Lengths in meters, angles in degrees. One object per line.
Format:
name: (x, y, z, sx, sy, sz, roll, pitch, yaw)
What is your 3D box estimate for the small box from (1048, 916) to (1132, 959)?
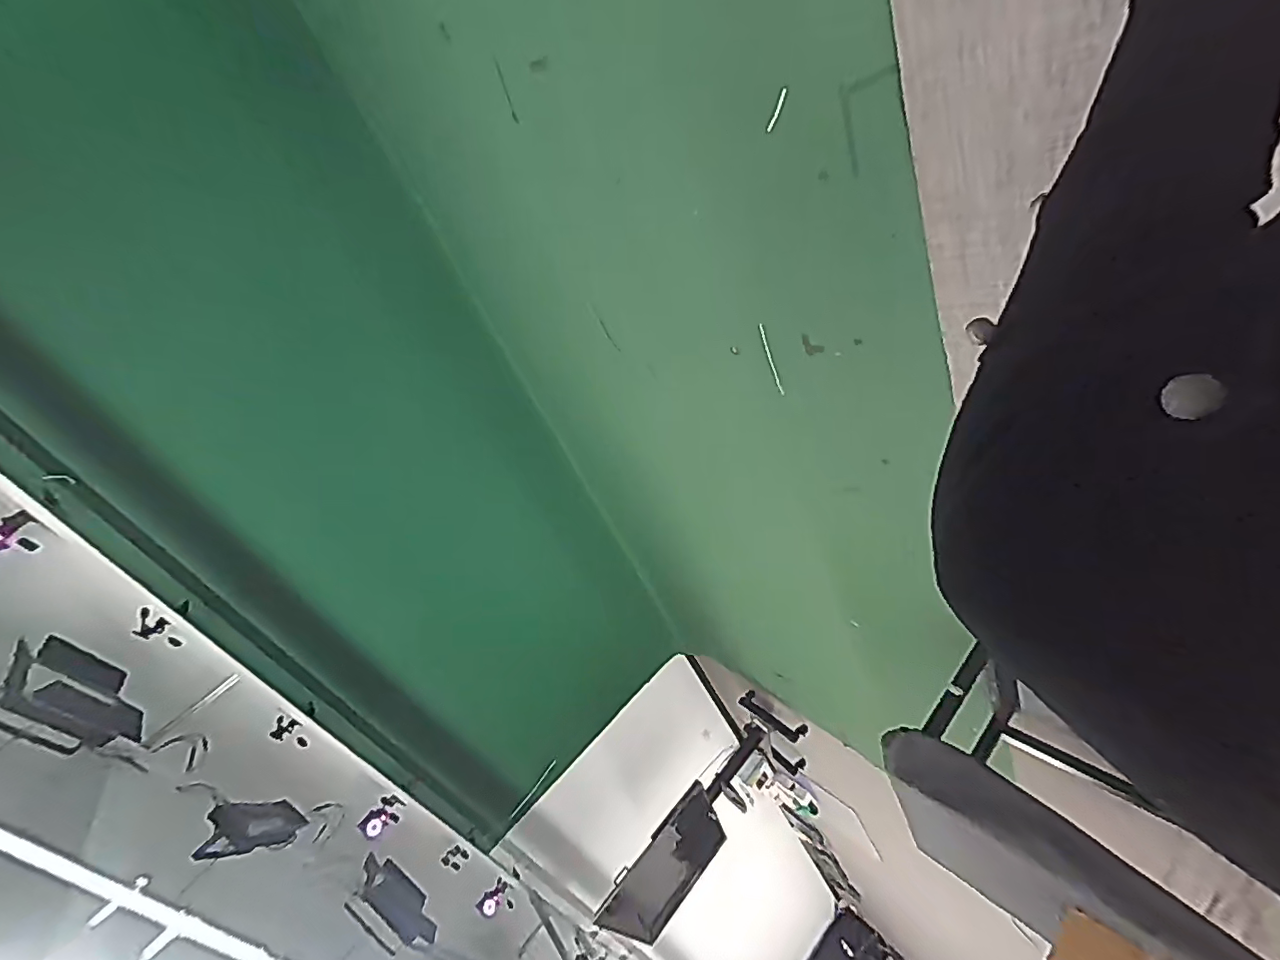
small box: (1.230, 1.350, 1.464, 0.179, 0.176, 0.168, 19, 142, 52)
